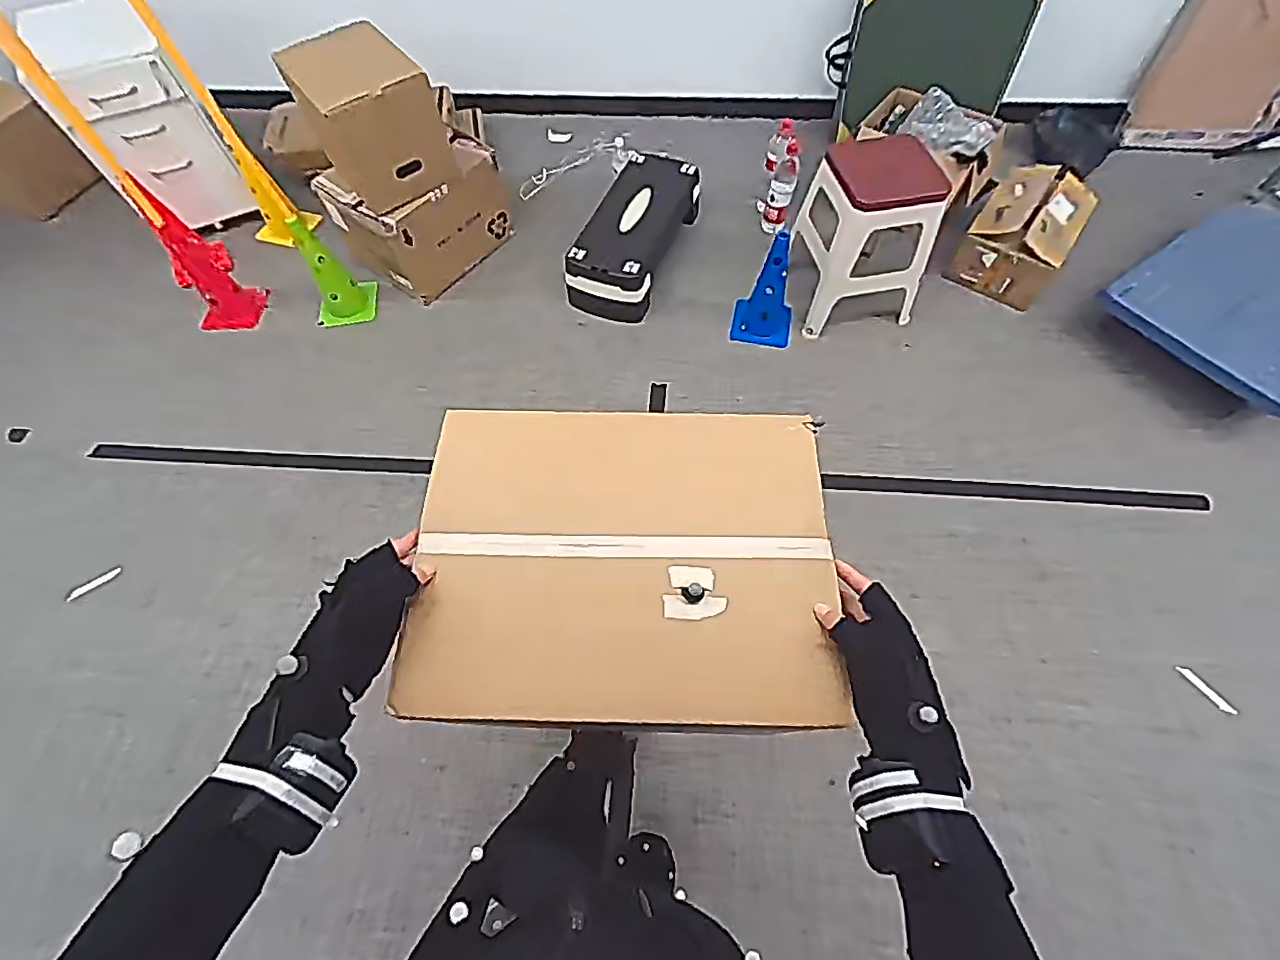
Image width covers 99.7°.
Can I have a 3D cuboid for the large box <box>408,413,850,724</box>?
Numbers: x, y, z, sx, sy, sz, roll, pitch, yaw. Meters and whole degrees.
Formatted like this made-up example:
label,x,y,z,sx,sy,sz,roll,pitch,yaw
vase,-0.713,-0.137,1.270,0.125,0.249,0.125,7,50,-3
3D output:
label,x,y,z,sx,sy,sz,roll,pitch,yaw
large box,-0.011,0.130,0.676,0.408,0.320,0.320,1,64,0
